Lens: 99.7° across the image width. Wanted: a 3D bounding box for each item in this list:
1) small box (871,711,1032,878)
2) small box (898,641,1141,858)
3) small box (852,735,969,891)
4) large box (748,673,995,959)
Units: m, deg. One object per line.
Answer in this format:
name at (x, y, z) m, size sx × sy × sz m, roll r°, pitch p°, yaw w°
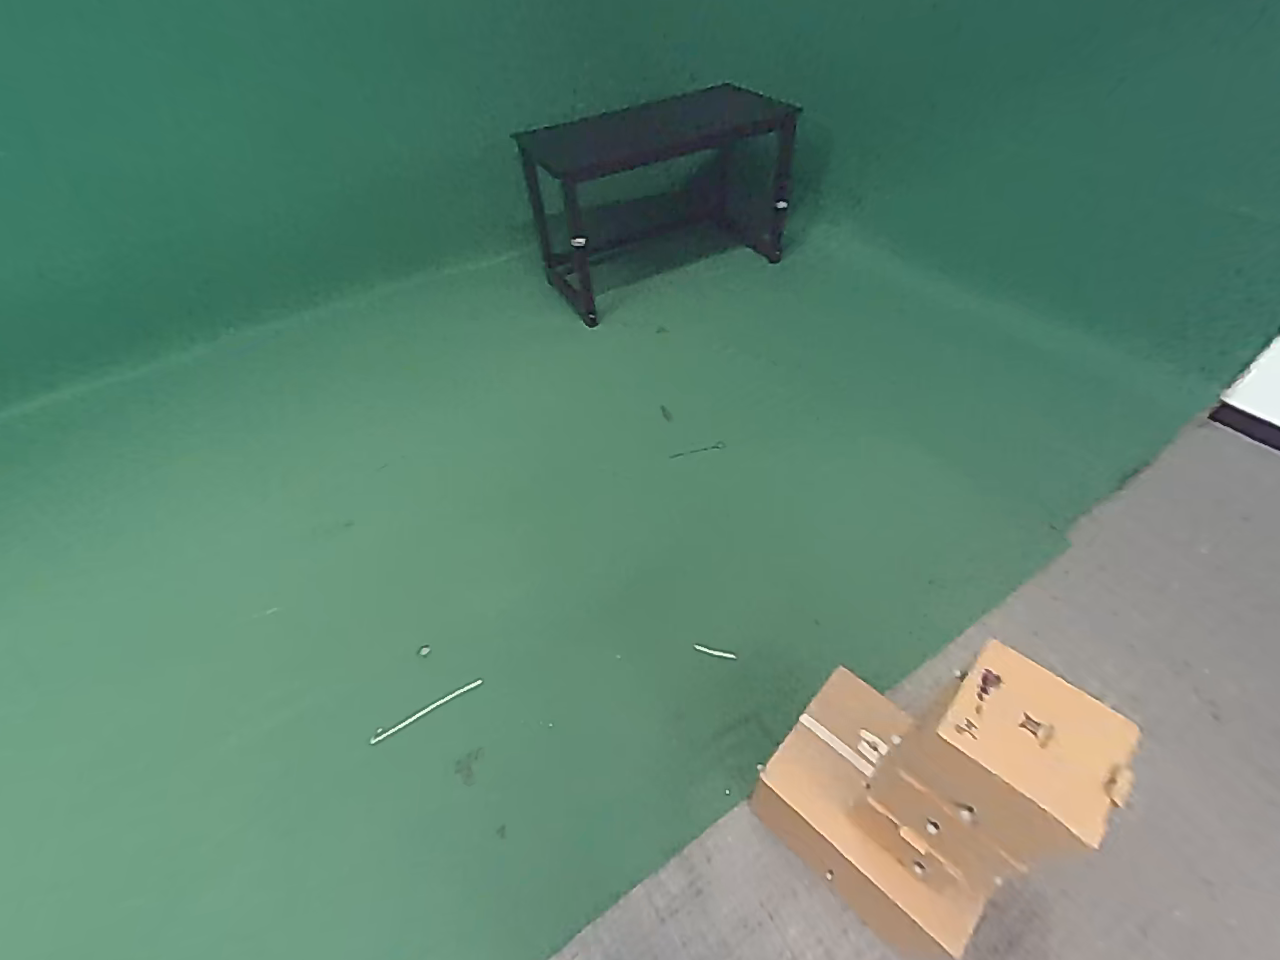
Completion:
small box at (0.485, 0.463, 0.820) m, size 0.179 × 0.176 × 0.168 m, roll 34°, pitch 59°, yaw 30°
small box at (0.474, 0.351, 0.700) m, size 0.179 × 0.176 × 0.168 m, roll 35°, pitch 60°, yaw 29°
small box at (0.492, 0.572, 0.942) m, size 0.168 × 0.176 × 0.179 m, roll 35°, pitch 60°, yaw 30°
large box at (0.488, 0.707, 1.150) m, size 0.408 × 0.320 × 0.320 m, roll 33°, pitch 57°, yaw 31°
